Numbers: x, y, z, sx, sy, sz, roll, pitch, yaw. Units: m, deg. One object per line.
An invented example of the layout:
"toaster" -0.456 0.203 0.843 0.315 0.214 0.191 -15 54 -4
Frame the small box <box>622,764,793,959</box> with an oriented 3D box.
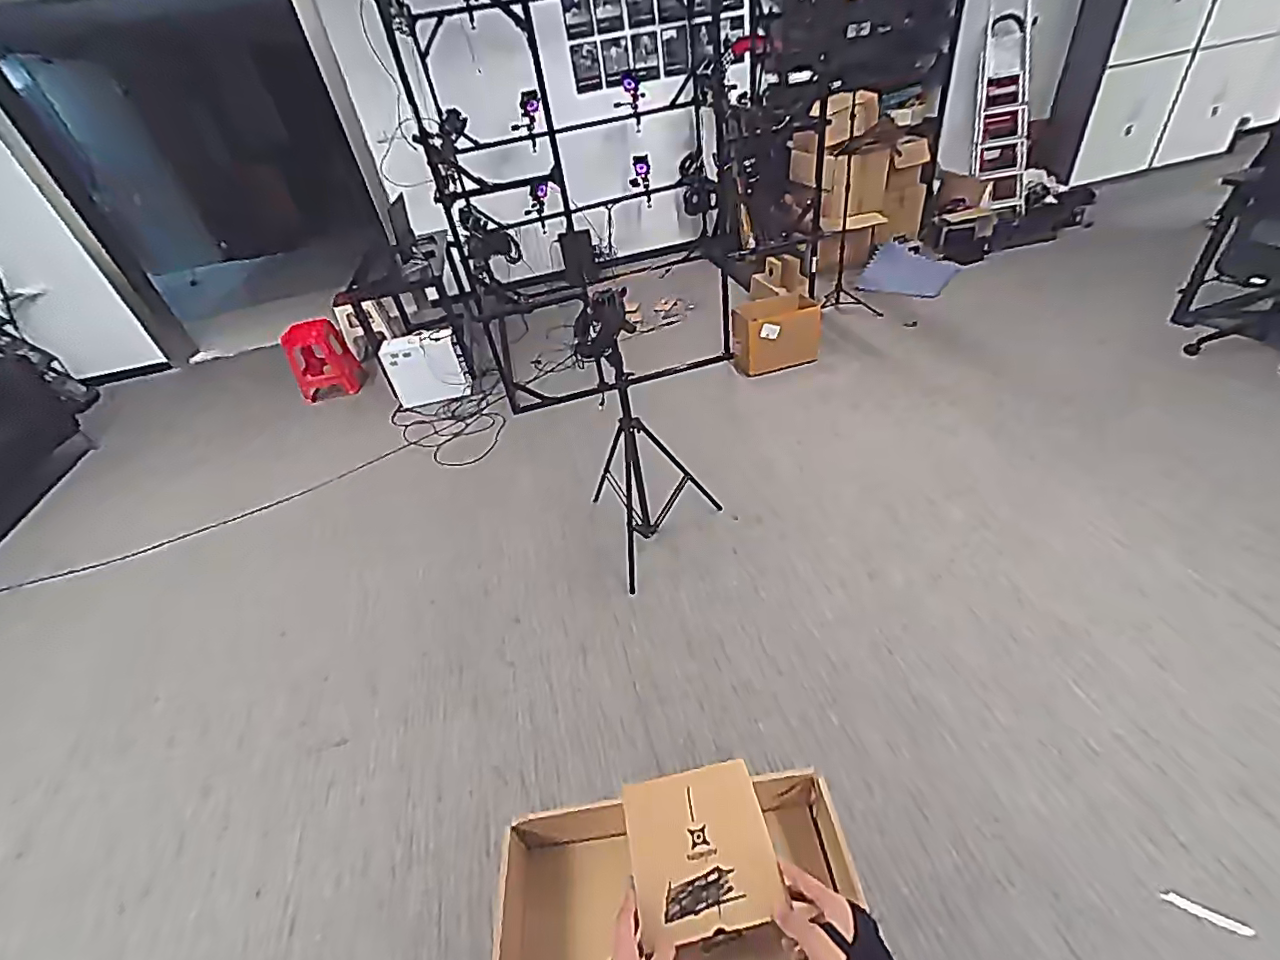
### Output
"small box" 0.081 0.496 0.669 0.168 0.176 0.179 -12 33 -4
